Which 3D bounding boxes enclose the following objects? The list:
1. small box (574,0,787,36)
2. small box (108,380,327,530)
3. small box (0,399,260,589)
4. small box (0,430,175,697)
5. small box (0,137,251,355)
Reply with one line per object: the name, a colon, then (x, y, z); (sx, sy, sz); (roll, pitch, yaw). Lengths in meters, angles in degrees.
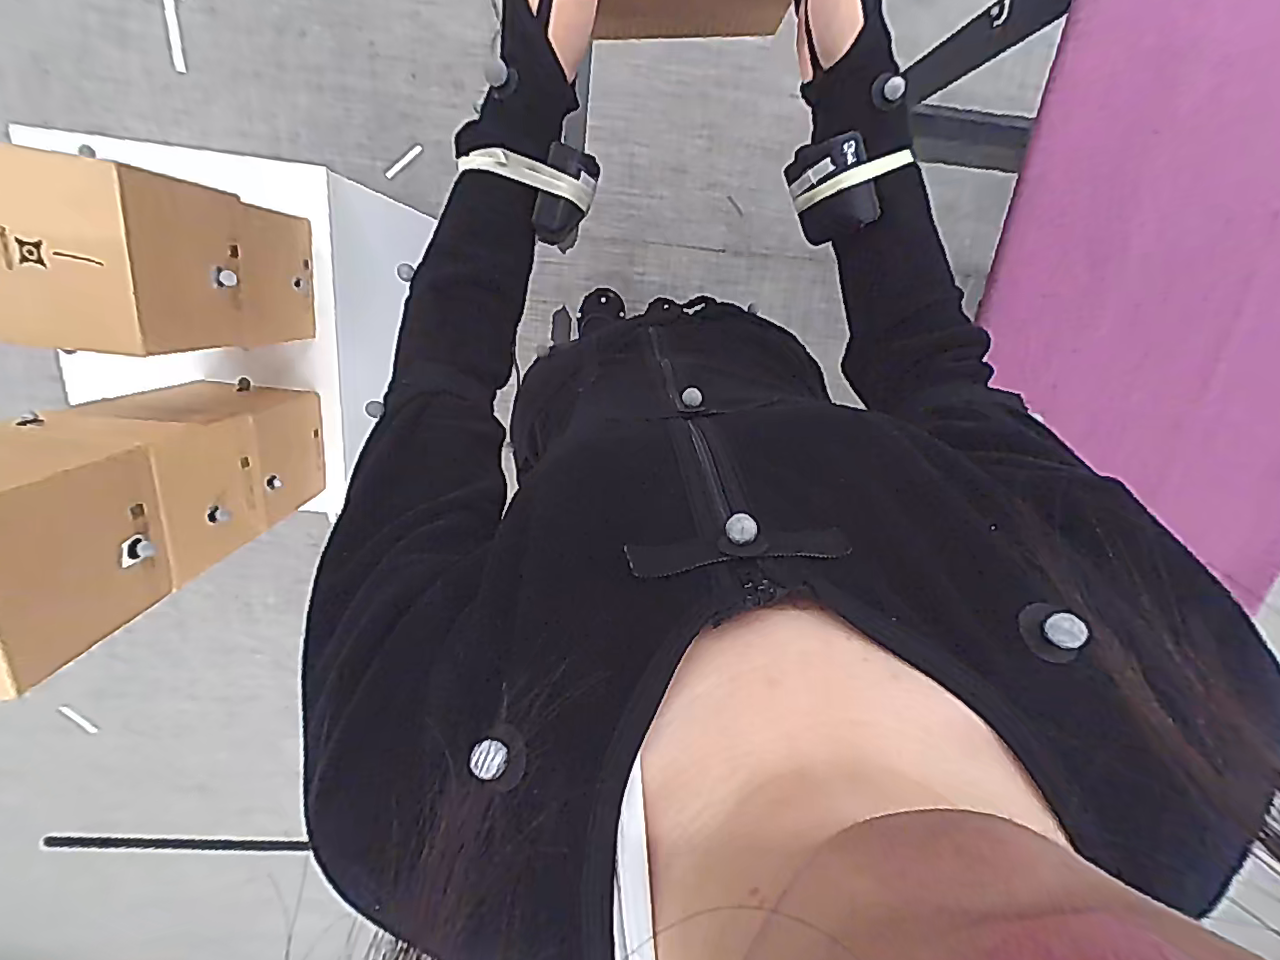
small box: (0.035, -0.434, 0.364); (0.179, 0.176, 0.168); (-1, 109, 0)
small box: (-0.579, -0.044, 0.768); (0.179, 0.176, 0.168); (6, 109, -4)
small box: (-0.568, 0.007, 0.615); (0.179, 0.176, 0.168); (4, 108, -5)
small box: (-0.560, 0.058, 0.460); (0.179, 0.176, 0.168); (4, 109, -5)
small box: (-0.531, -0.226, 0.536); (0.179, 0.176, 0.168); (7, 109, -7)
